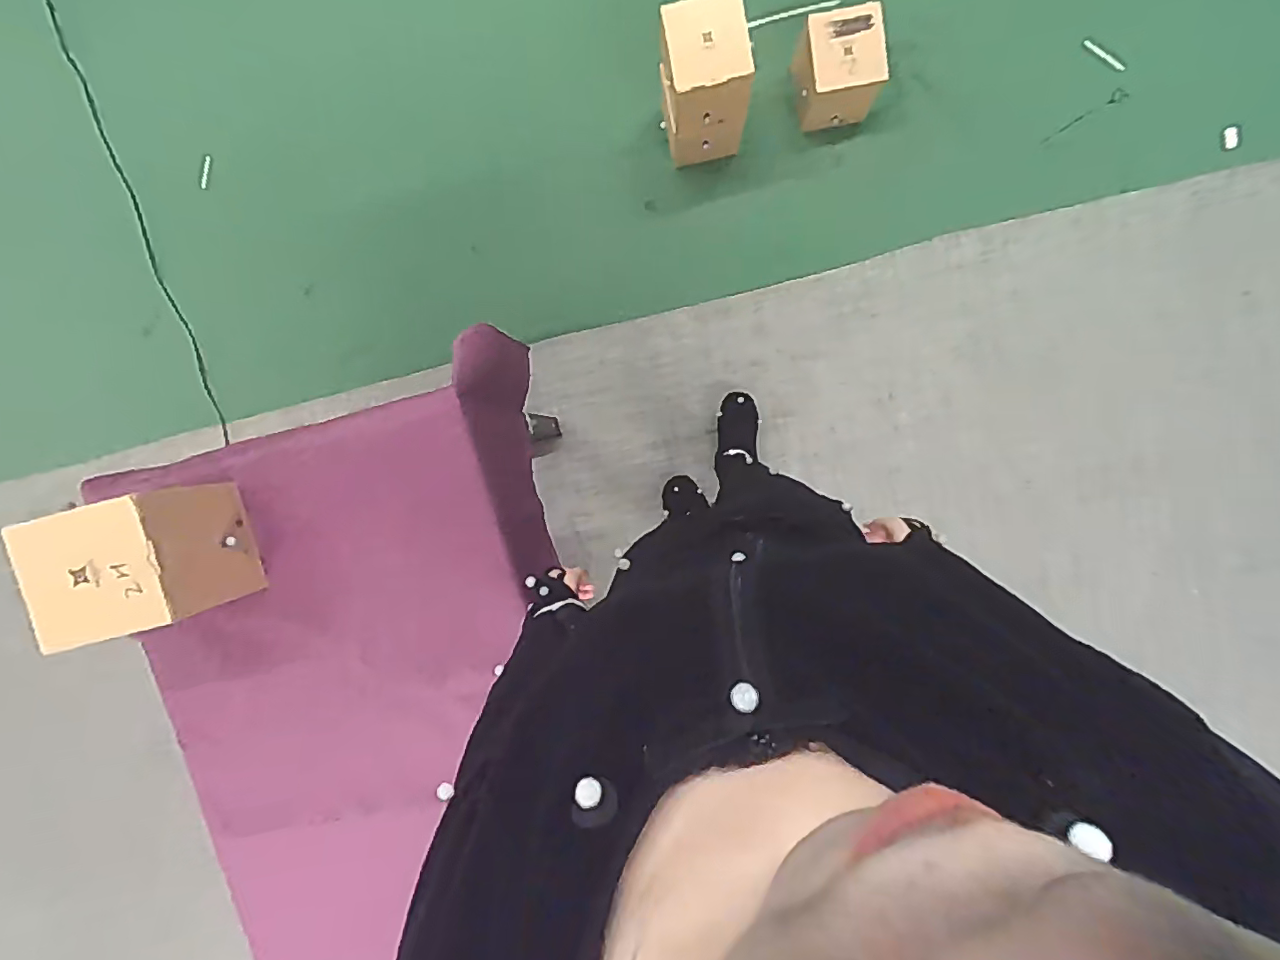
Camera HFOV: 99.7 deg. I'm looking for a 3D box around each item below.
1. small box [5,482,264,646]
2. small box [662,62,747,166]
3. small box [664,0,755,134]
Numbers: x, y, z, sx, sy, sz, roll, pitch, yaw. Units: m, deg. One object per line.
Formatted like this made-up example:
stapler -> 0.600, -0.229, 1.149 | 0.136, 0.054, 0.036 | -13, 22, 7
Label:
small box -> -0.671, 0.104, 0.740 | 0.179, 0.176, 0.168 | -14, 94, 2
small box -> 0.156, -0.919, 1.343 | 0.179, 0.176, 0.168 | -11, 93, 6
small box -> 0.146, -0.904, 1.181 | 0.168, 0.176, 0.179 | -11, 94, 5
